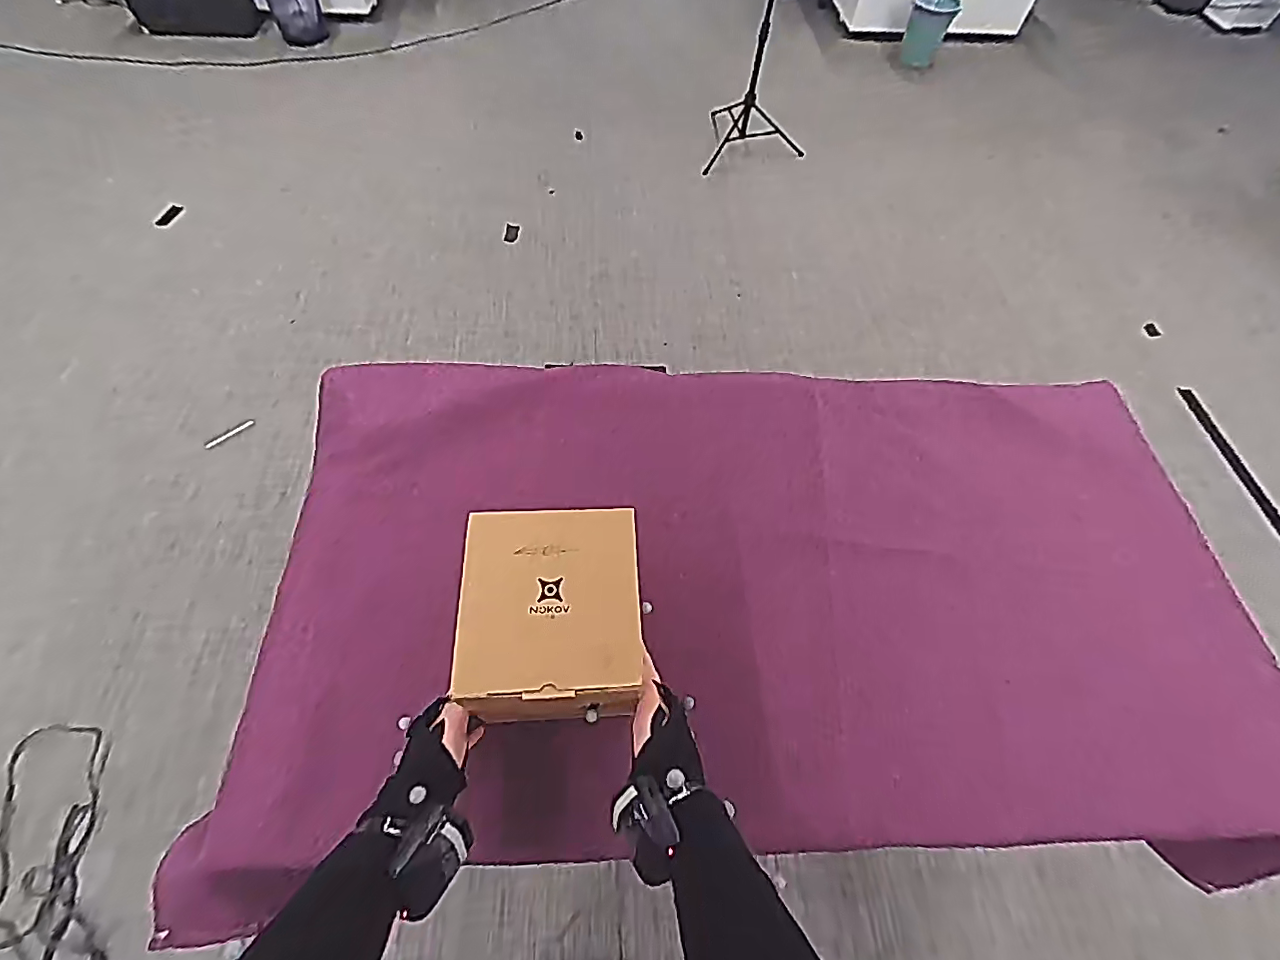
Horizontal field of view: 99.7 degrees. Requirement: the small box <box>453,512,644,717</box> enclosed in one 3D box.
[{"bbox_3d":[-0.084,0.148,0.567,0.168,0.176,0.179,0,59,-5],"label":"small box"}]
